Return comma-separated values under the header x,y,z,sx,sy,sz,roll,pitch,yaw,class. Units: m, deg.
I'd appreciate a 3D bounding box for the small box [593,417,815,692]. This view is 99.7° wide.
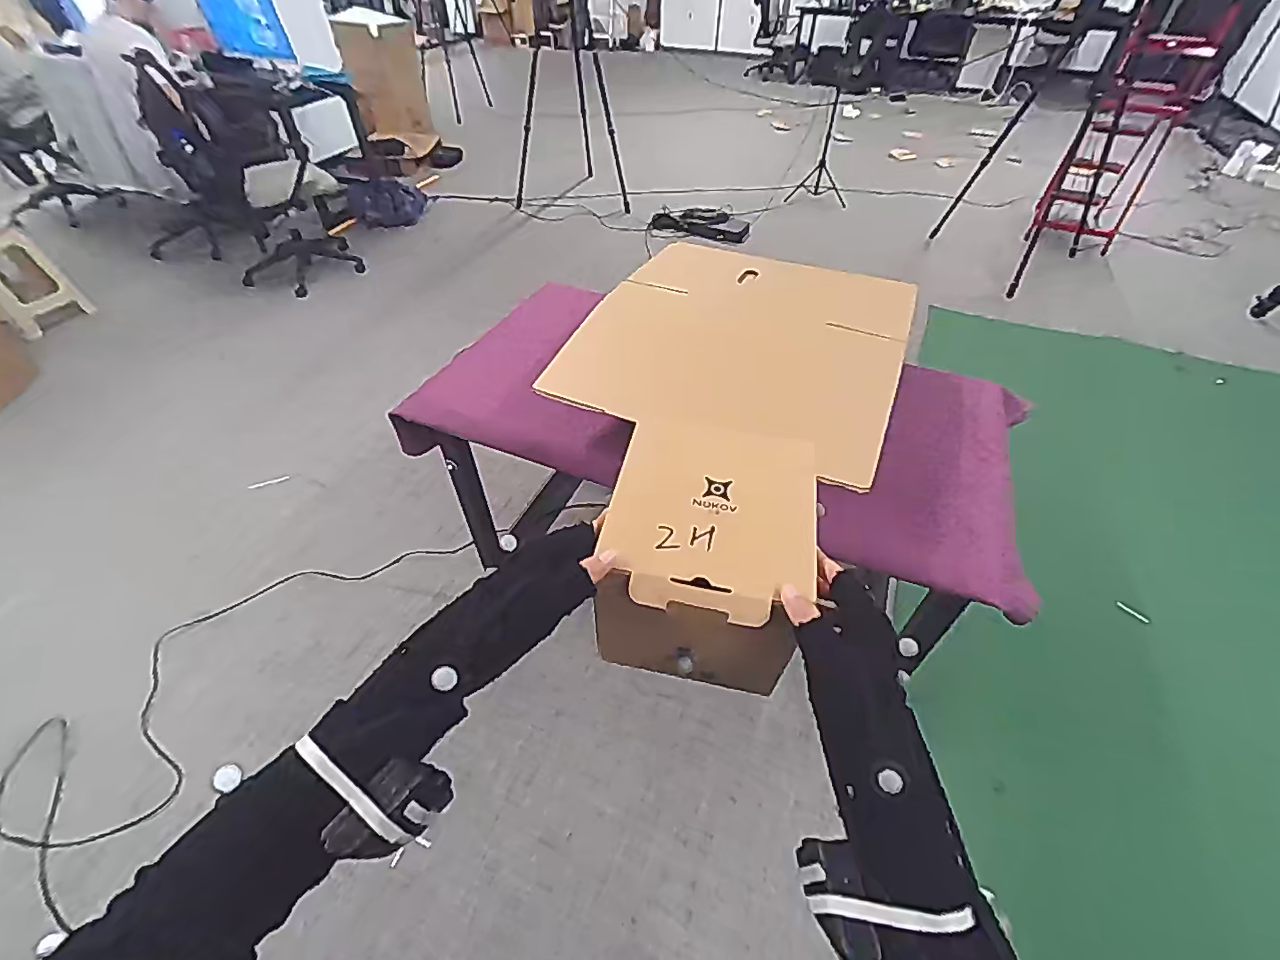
x,y,z,sx,sy,sz,roll,pitch,yaw,class
0.059,0.070,0.508,0.168,0.176,0.179,10,49,8,small box
